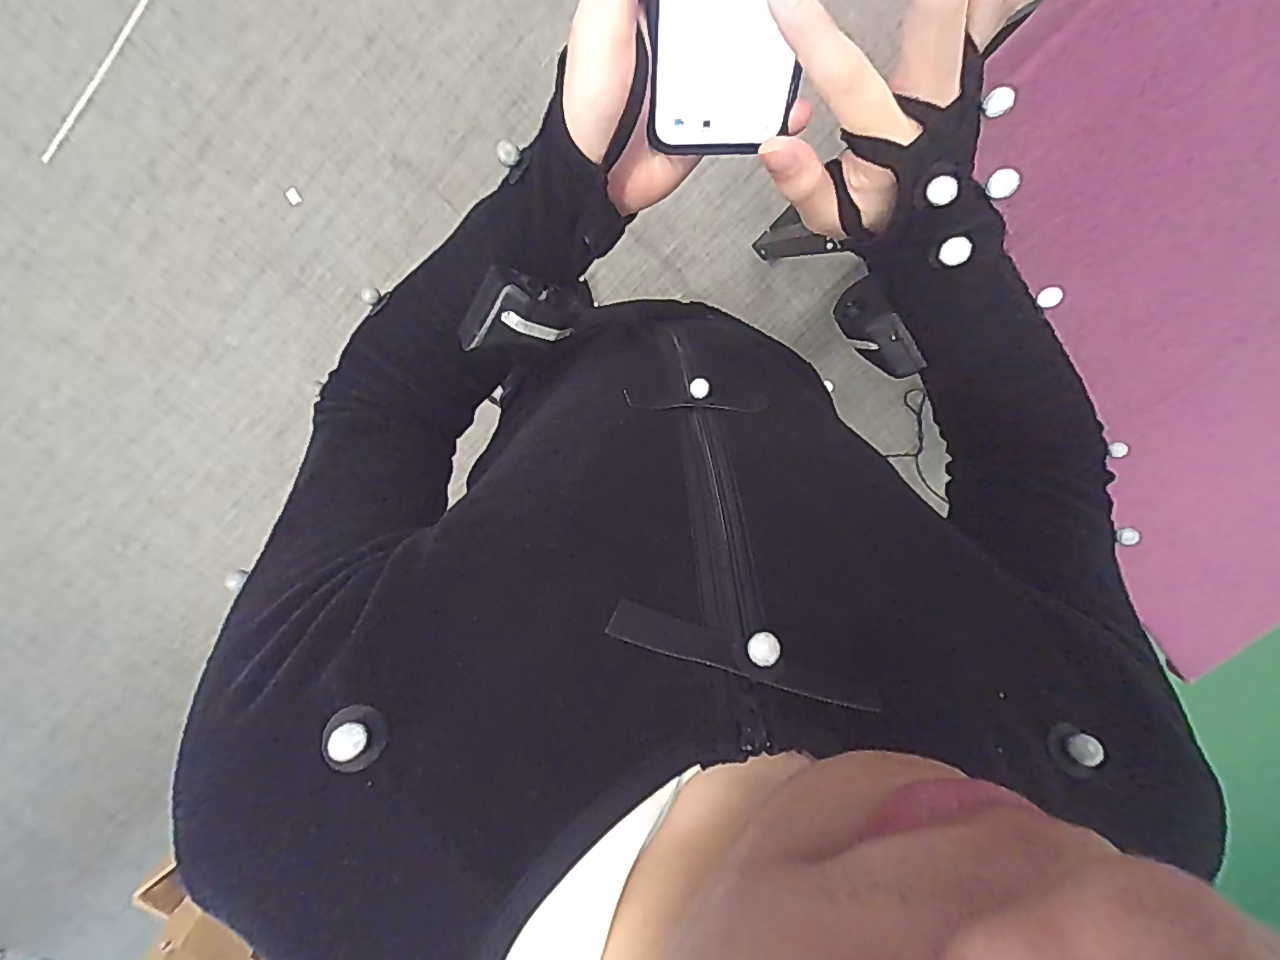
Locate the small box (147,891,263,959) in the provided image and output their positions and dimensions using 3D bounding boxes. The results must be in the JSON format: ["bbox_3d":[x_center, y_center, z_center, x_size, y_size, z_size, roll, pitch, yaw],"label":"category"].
[{"bbox_3d":[-1.048,1.133,1.287,0.179,0.176,0.168,-36,108,9],"label":"small box"}]
